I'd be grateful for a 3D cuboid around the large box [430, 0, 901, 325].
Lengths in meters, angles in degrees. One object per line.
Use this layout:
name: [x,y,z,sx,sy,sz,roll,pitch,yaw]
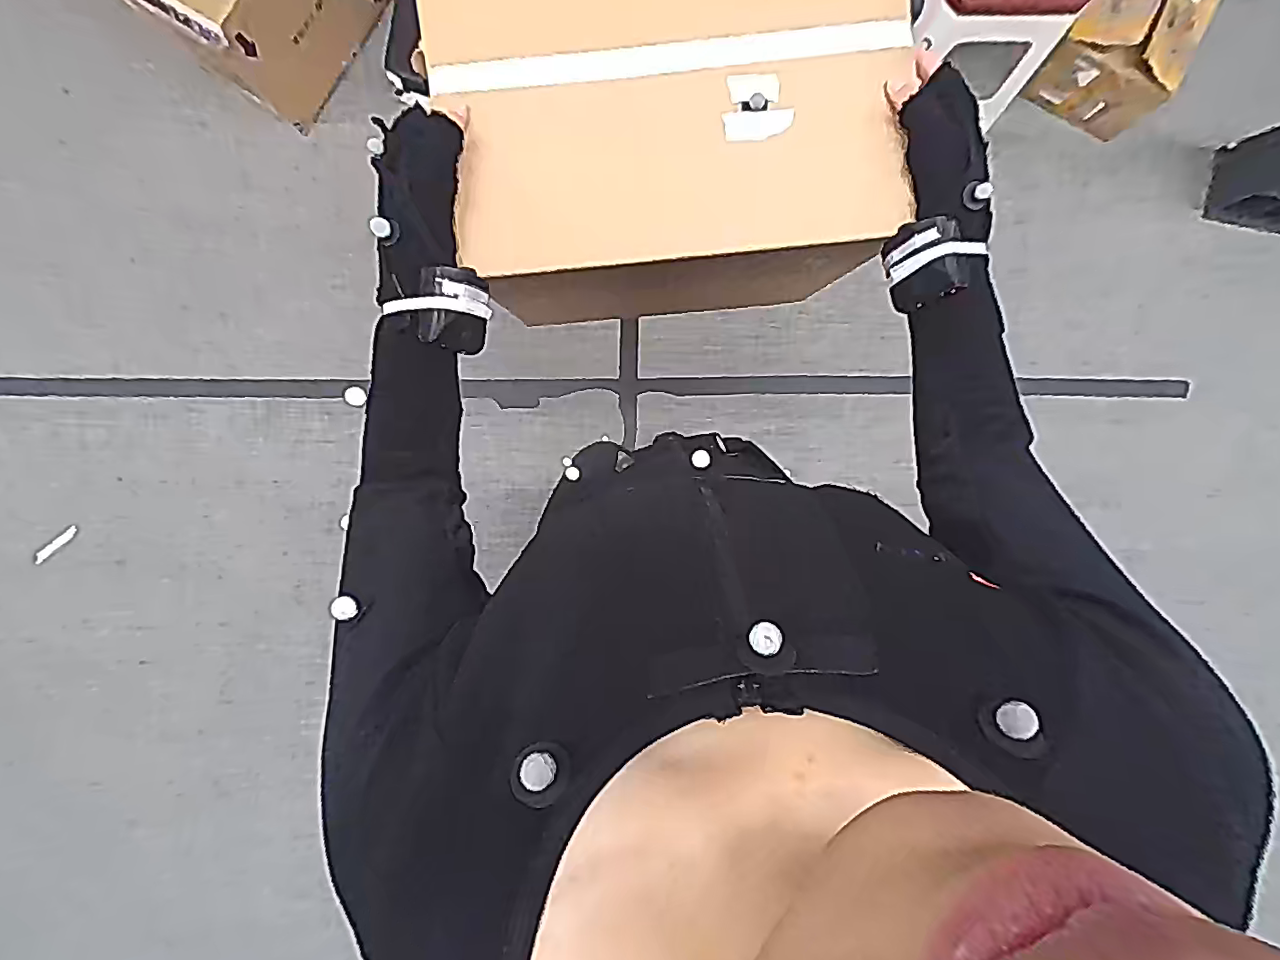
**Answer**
large box: [0.020,-0.378,0.621,0.408,0.320,0.320,-6,99,-1]
